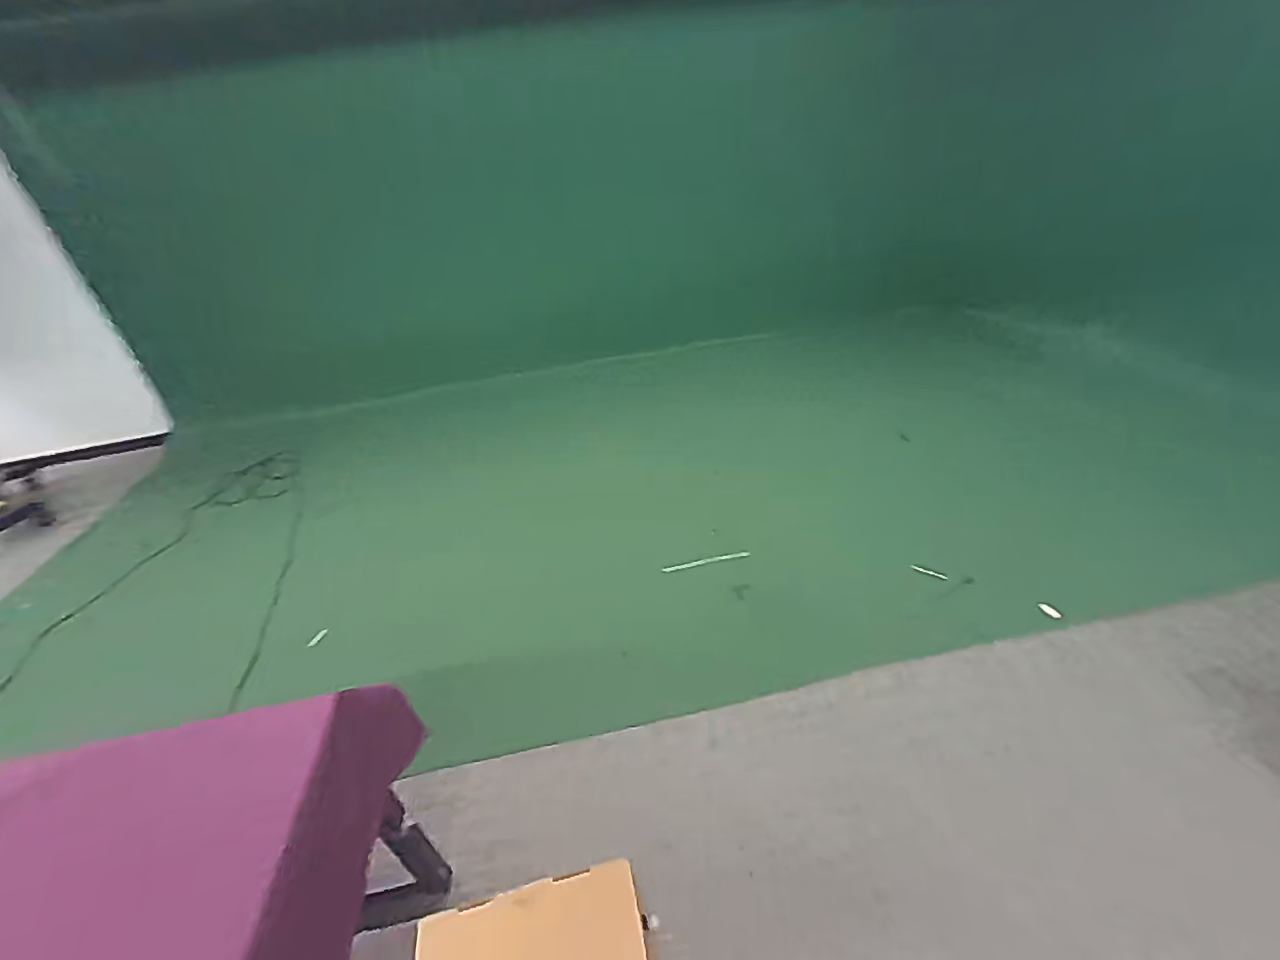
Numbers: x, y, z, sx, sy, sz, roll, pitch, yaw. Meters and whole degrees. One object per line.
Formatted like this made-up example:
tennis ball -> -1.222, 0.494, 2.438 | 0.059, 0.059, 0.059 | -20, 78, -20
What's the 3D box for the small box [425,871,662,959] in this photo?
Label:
small box -> -0.057, 0.441, 0.408 | 0.168, 0.176, 0.179 | -13, 39, -5
